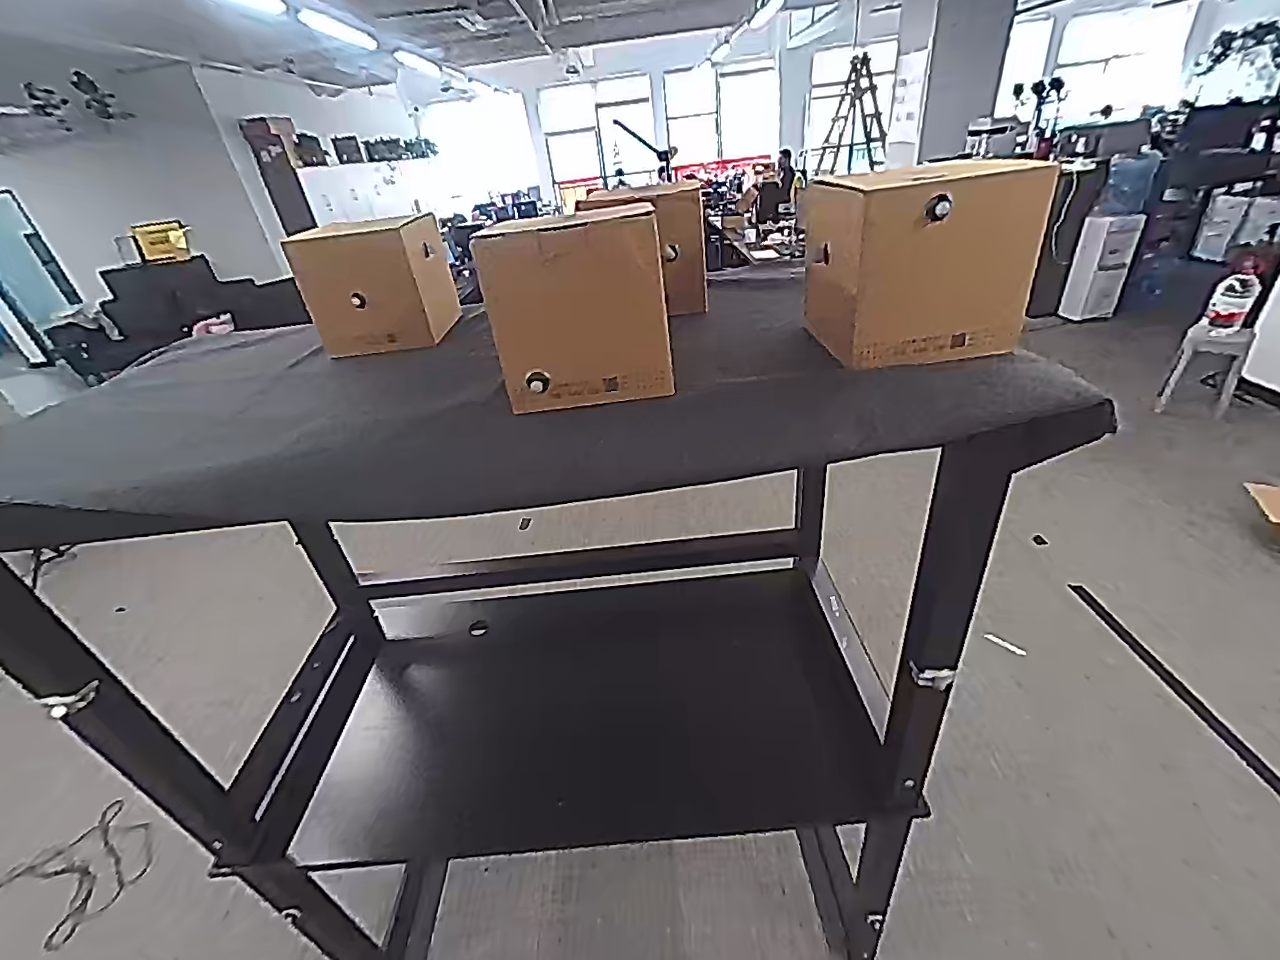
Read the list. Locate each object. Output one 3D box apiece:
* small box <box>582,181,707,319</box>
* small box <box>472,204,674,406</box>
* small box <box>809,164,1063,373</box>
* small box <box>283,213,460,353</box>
[{"bbox_3d":[0.016,-0.349,0.830,0.168,0.176,0.179,-2,32,6],"label":"small box"},{"bbox_3d":[-0.056,-0.183,0.573,0.168,0.176,0.179,-6,29,3],"label":"small box"},{"bbox_3d":[0.282,-0.224,0.567,0.168,0.176,0.179,-7,31,3],"label":"small box"},{"bbox_3d":[-0.394,-0.301,0.835,0.168,0.176,0.179,-6,32,1],"label":"small box"}]
